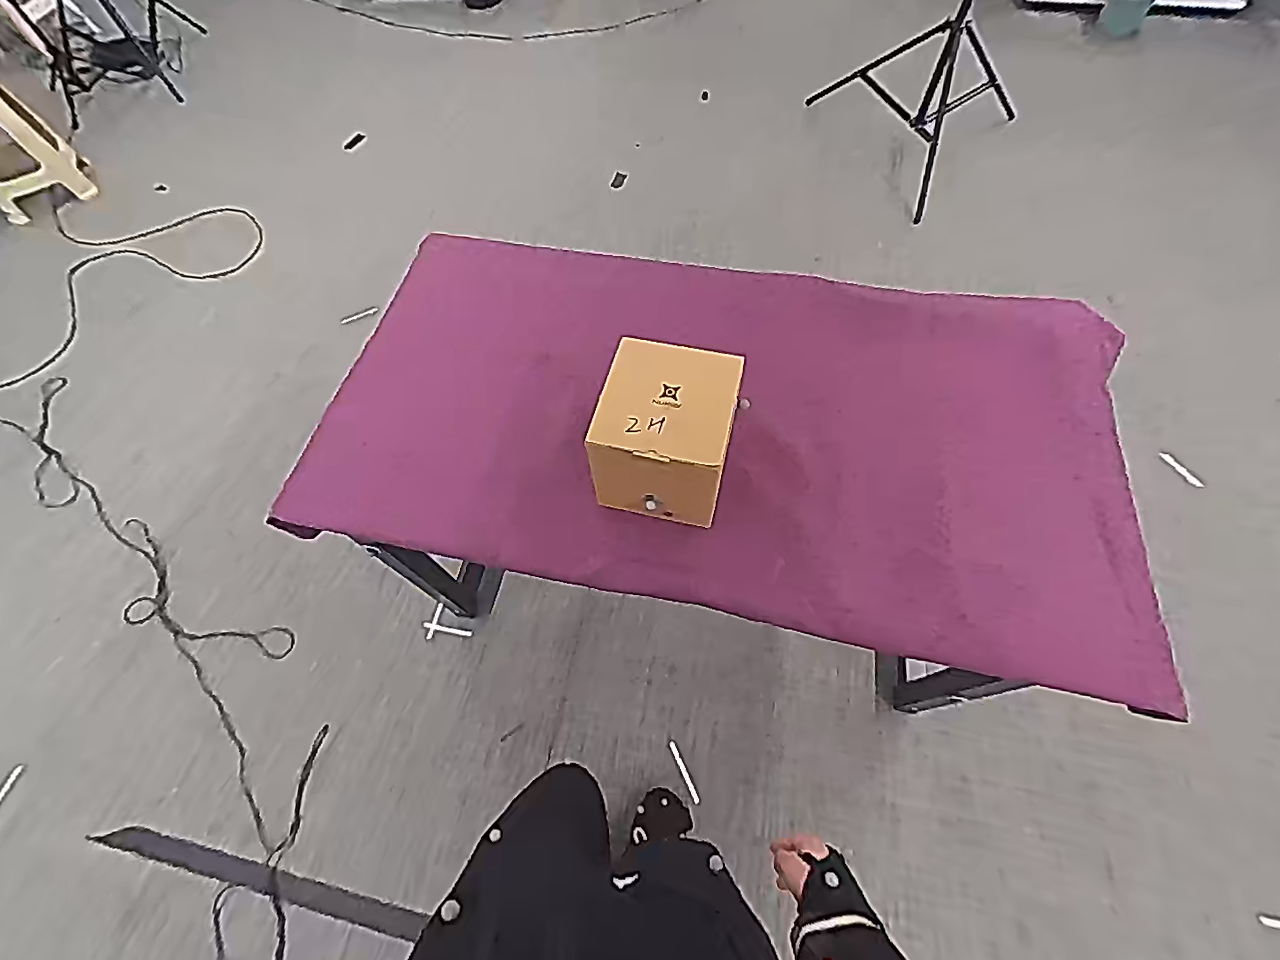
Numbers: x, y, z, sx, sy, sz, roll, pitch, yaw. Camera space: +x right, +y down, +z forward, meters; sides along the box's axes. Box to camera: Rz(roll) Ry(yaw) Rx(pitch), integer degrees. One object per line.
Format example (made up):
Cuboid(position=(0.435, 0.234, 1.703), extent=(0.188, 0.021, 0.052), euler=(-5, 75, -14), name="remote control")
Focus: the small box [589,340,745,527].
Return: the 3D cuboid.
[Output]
Cuboid(position=(0.039, -0.060, 0.744), extent=(0.168, 0.176, 0.179), euler=(11, 62, 9), name="small box")
